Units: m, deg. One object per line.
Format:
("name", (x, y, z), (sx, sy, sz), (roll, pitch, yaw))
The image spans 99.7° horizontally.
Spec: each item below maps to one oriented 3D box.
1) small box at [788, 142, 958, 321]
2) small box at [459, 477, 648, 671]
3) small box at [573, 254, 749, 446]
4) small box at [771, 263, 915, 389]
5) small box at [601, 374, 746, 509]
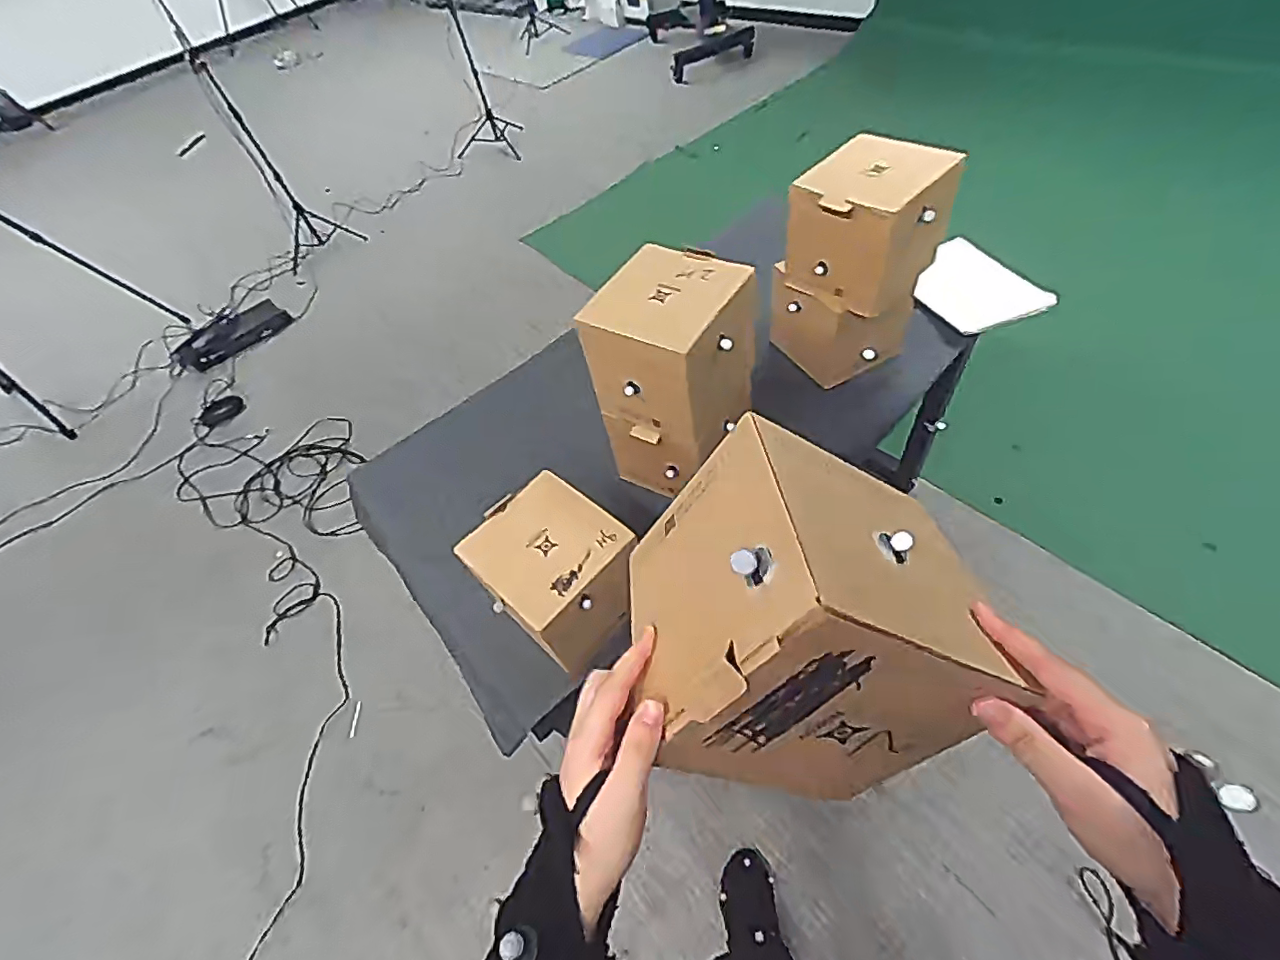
("small box", (0.343, -0.381, 0.833), (0.179, 0.176, 0.168), (-41, 56, -17))
("small box", (-0.111, 0.134, 0.750), (0.179, 0.176, 0.168), (33, 66, 30))
("small box", (0.040, -0.175, 0.743), (0.168, 0.176, 0.179), (25, 62, 25))
("small box", (0.351, -0.297, 0.974), (0.168, 0.176, 0.179), (-27, 54, -8))
("small box", (0.064, -0.080, 0.876), (0.168, 0.176, 0.179), (22, 60, 24))
